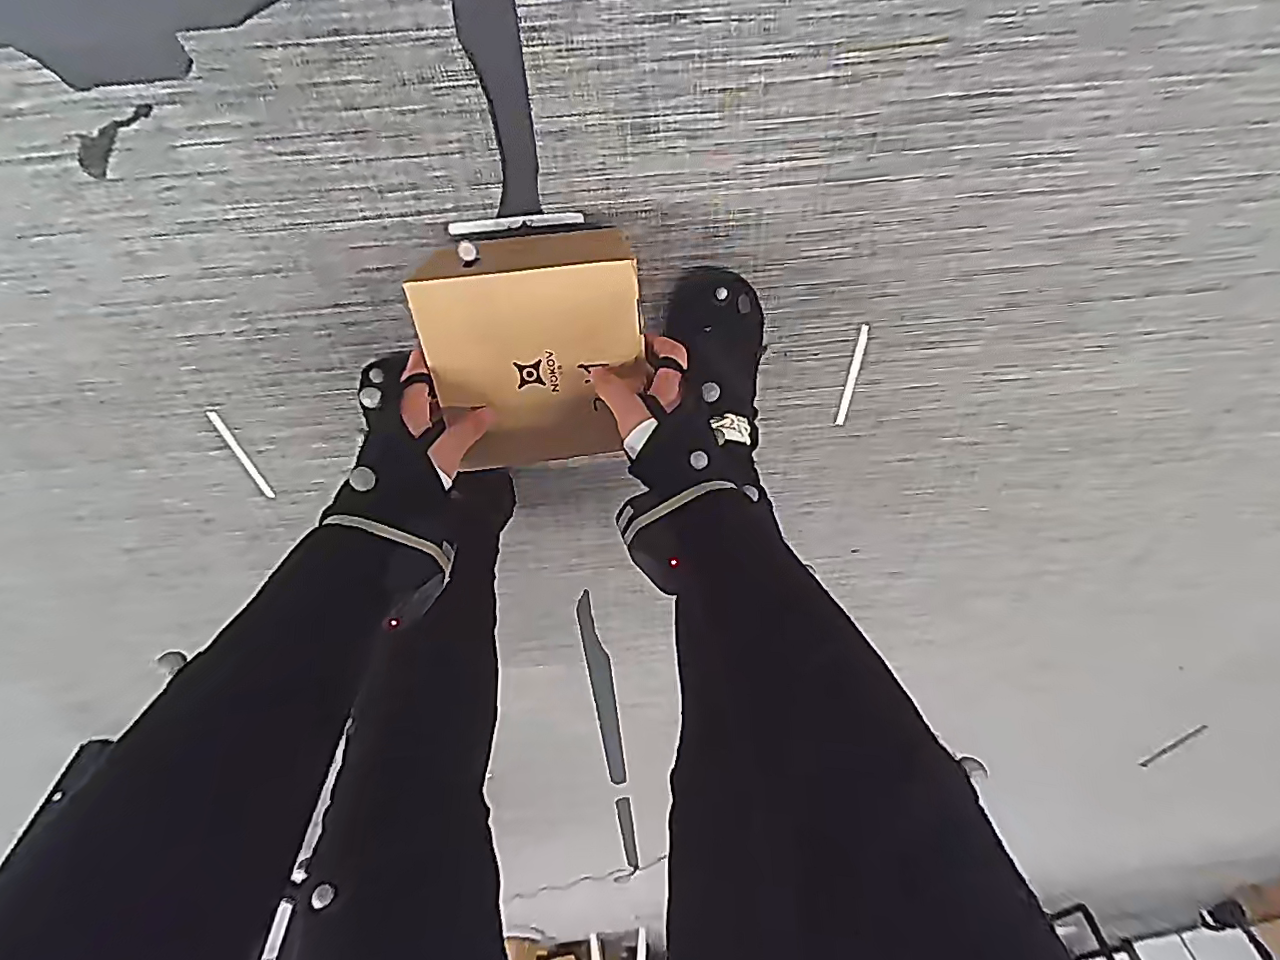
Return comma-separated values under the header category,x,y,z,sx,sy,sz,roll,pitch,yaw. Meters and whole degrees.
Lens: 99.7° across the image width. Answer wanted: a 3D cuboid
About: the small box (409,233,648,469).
category,x,y,z,sx,sy,sz,roll,pitch,yaw
small box,-0.093,-0.131,0.516,0.179,0.176,0.168,-8,123,-5
